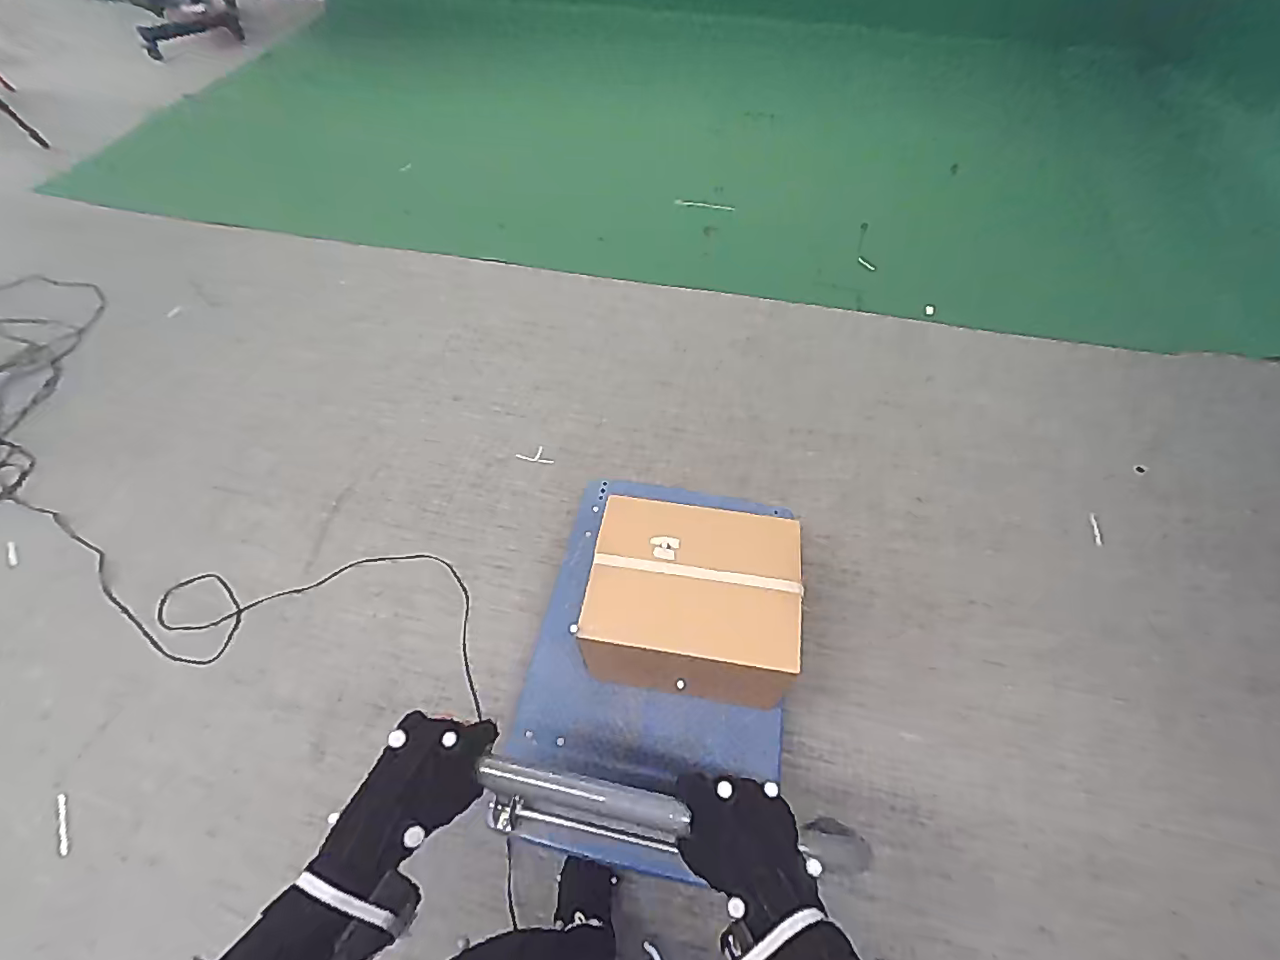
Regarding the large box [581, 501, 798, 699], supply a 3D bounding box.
[{"bbox_3d":[0.114,0.270,1.187,0.408,0.320,0.320,6,56,6],"label":"large box"}]
